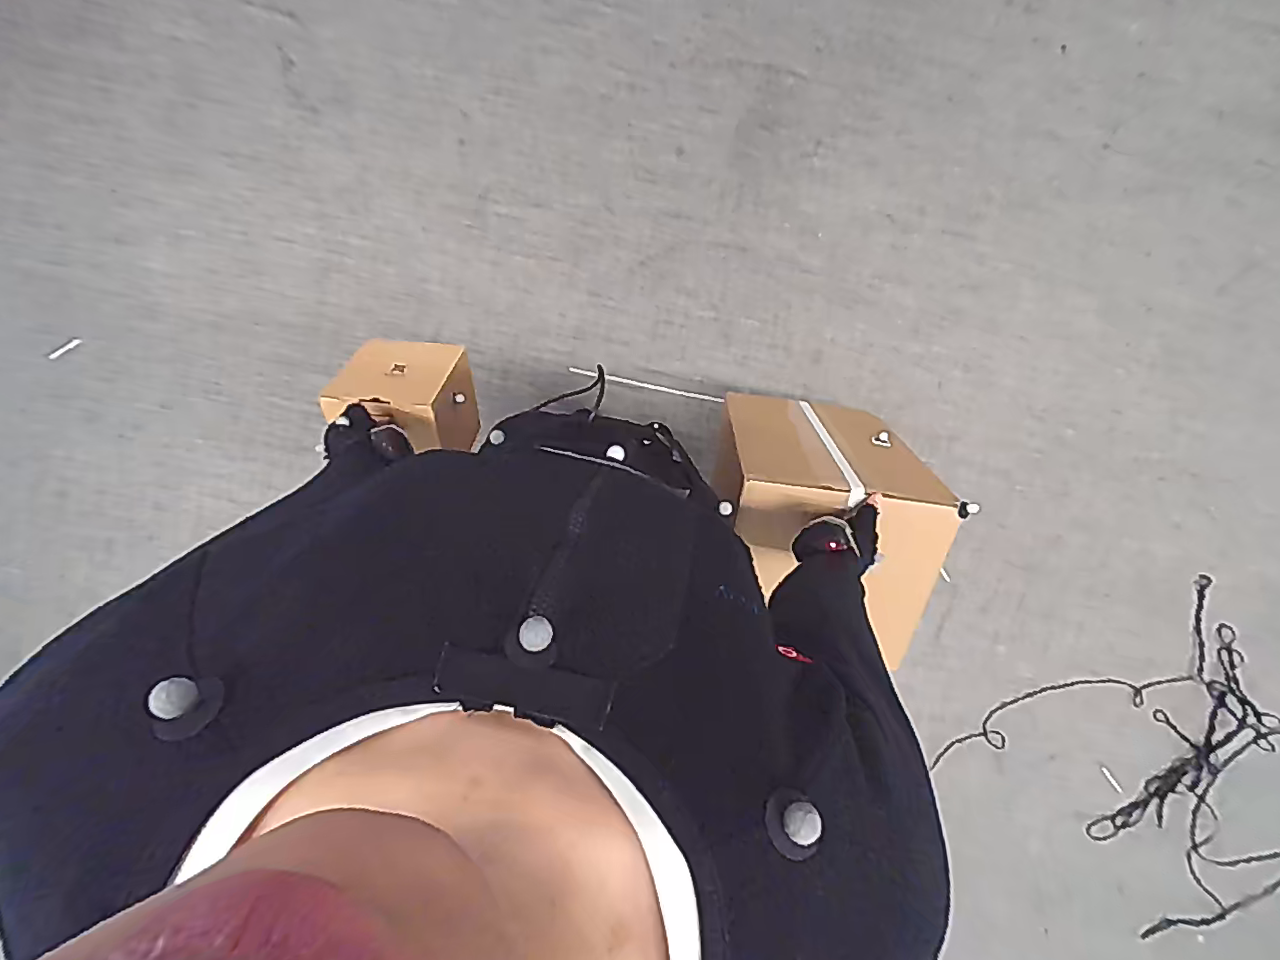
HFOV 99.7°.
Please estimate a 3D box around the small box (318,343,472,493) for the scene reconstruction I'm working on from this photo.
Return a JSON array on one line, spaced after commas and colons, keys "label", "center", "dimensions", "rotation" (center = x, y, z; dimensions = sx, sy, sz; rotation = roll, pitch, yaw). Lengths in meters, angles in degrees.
[{"label": "small box", "center": [-0.384, -0.102, 0.888], "dimensions": [0.168, 0.179, 0.176], "rotation": [4, 132, 0]}]
